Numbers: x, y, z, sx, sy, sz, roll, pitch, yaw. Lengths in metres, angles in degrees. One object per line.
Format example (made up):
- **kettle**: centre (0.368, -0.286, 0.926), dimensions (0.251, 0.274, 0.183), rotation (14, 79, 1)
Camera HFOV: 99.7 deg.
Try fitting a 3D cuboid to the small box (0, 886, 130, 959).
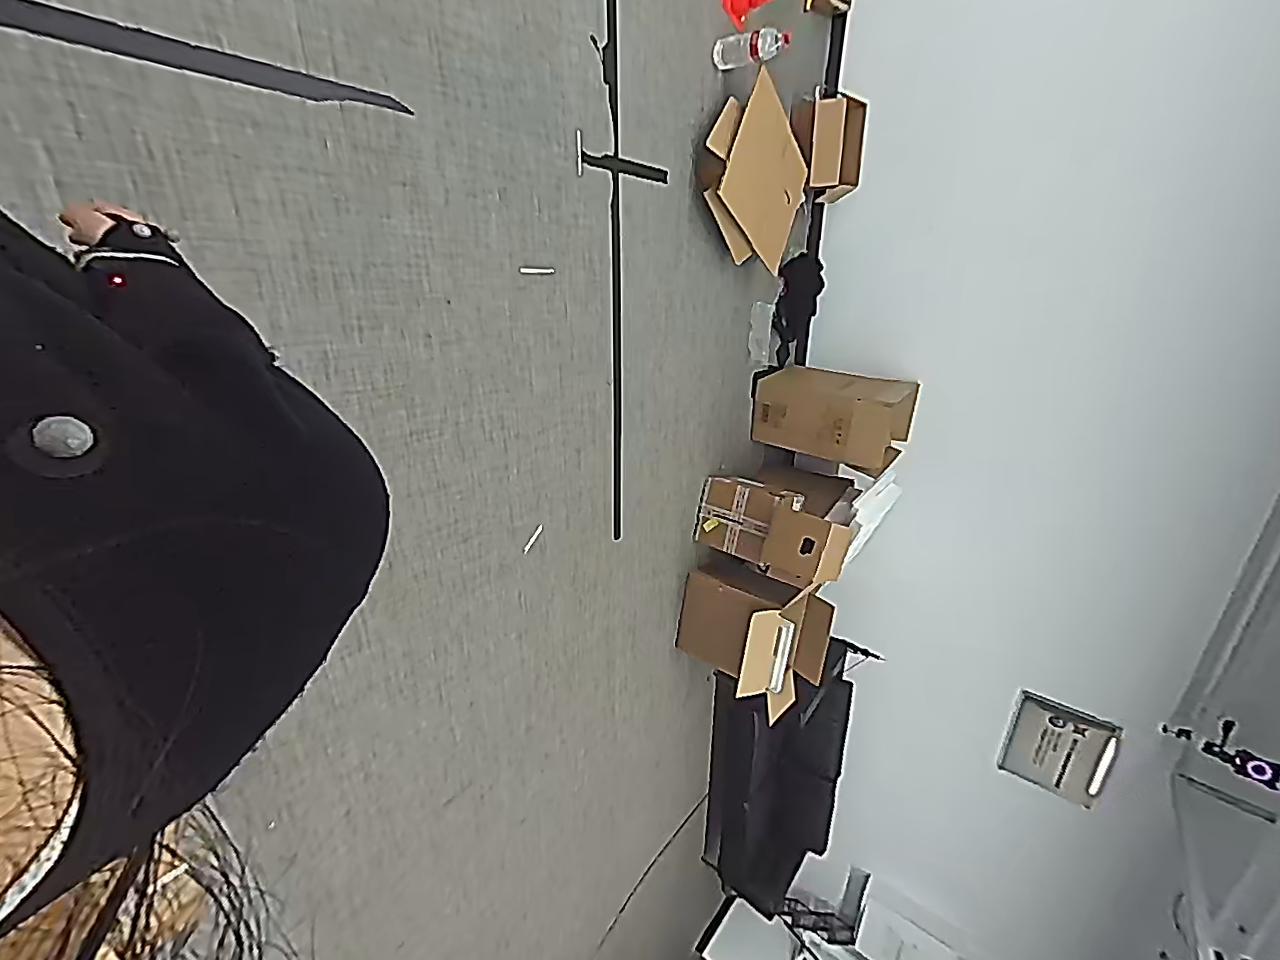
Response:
- **small box**: centre (-1.029, 0.876, 0.945), dimensions (0.179, 0.176, 0.168), rotation (-25, 121, -46)
